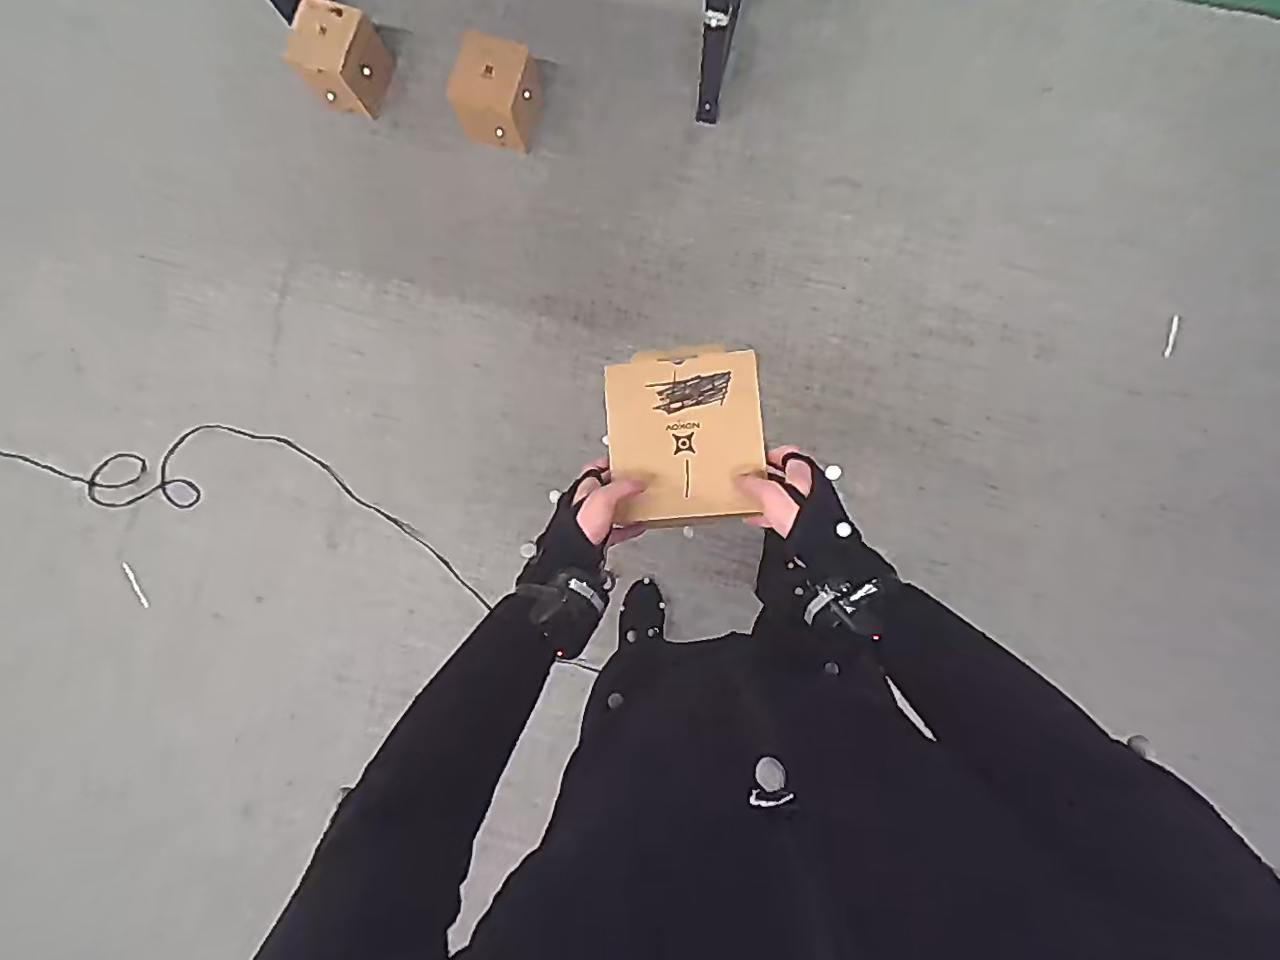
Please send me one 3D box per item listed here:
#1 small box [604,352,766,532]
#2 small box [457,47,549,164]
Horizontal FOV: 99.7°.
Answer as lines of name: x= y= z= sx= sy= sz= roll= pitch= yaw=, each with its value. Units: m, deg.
small box: x=0.054 y=-0.034 z=0.650 sx=0.168 sy=0.176 sz=0.179 roll=-5 pitch=80 yaw=7
small box: x=-0.353 y=-0.977 z=1.426 sx=0.168 sy=0.176 sz=0.179 roll=16 pitch=86 yaw=4
